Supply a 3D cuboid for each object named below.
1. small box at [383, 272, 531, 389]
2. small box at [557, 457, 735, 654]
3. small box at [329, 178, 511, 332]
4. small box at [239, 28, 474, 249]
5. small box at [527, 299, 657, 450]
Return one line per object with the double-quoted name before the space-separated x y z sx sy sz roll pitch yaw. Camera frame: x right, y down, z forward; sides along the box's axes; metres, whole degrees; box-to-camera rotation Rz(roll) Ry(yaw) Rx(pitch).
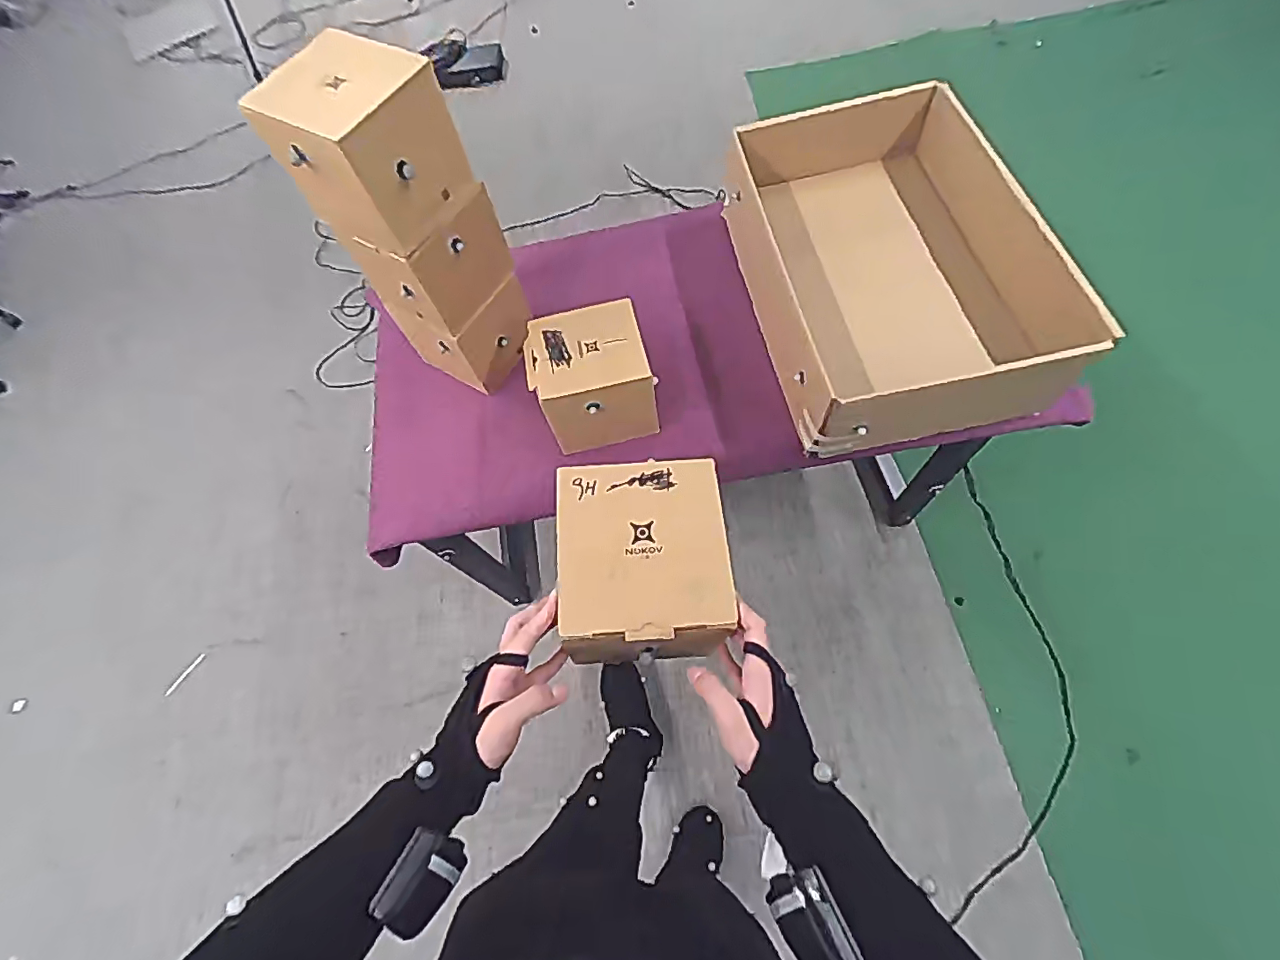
"small box" -0.321 -0.296 1.000 0.179 0.176 0.168 29 71 17
"small box" 0.000 0.092 0.596 0.168 0.176 0.179 -3 65 -3
"small box" -0.332 -0.368 0.855 0.168 0.176 0.179 29 71 16
"small box" -0.351 -0.436 0.709 0.179 0.176 0.168 27 71 16
"small box" -0.076 -0.169 0.914 0.179 0.176 0.168 -13 64 0
